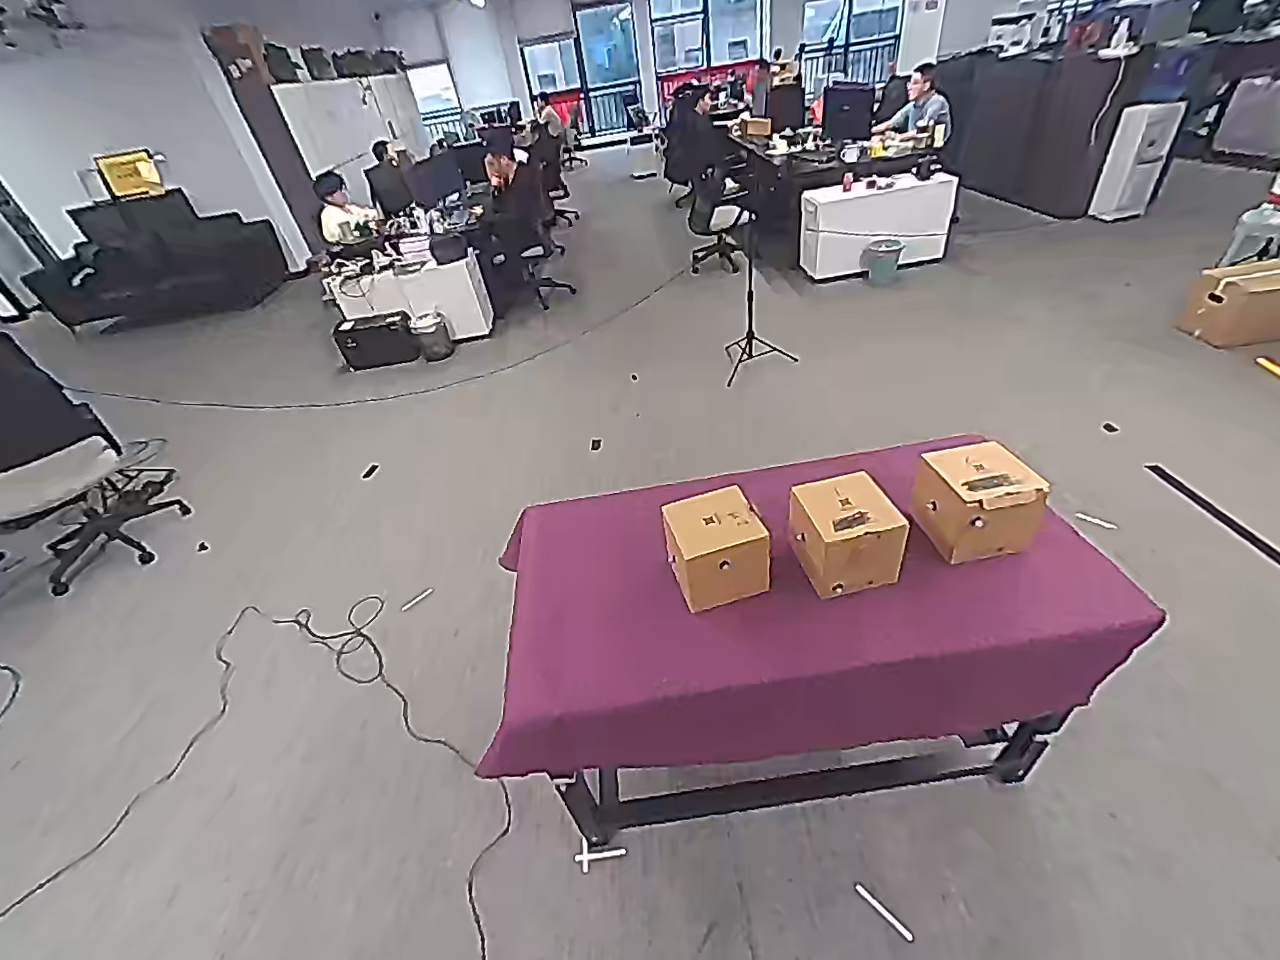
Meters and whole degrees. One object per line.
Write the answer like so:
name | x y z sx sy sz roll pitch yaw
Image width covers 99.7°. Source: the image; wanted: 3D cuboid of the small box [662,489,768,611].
small box | 0.159 0.150 1.139 0.179 0.176 0.168 -15 39 -6

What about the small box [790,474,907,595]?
small box | 0.422 0.118 1.122 0.168 0.176 0.179 -12 37 -3
